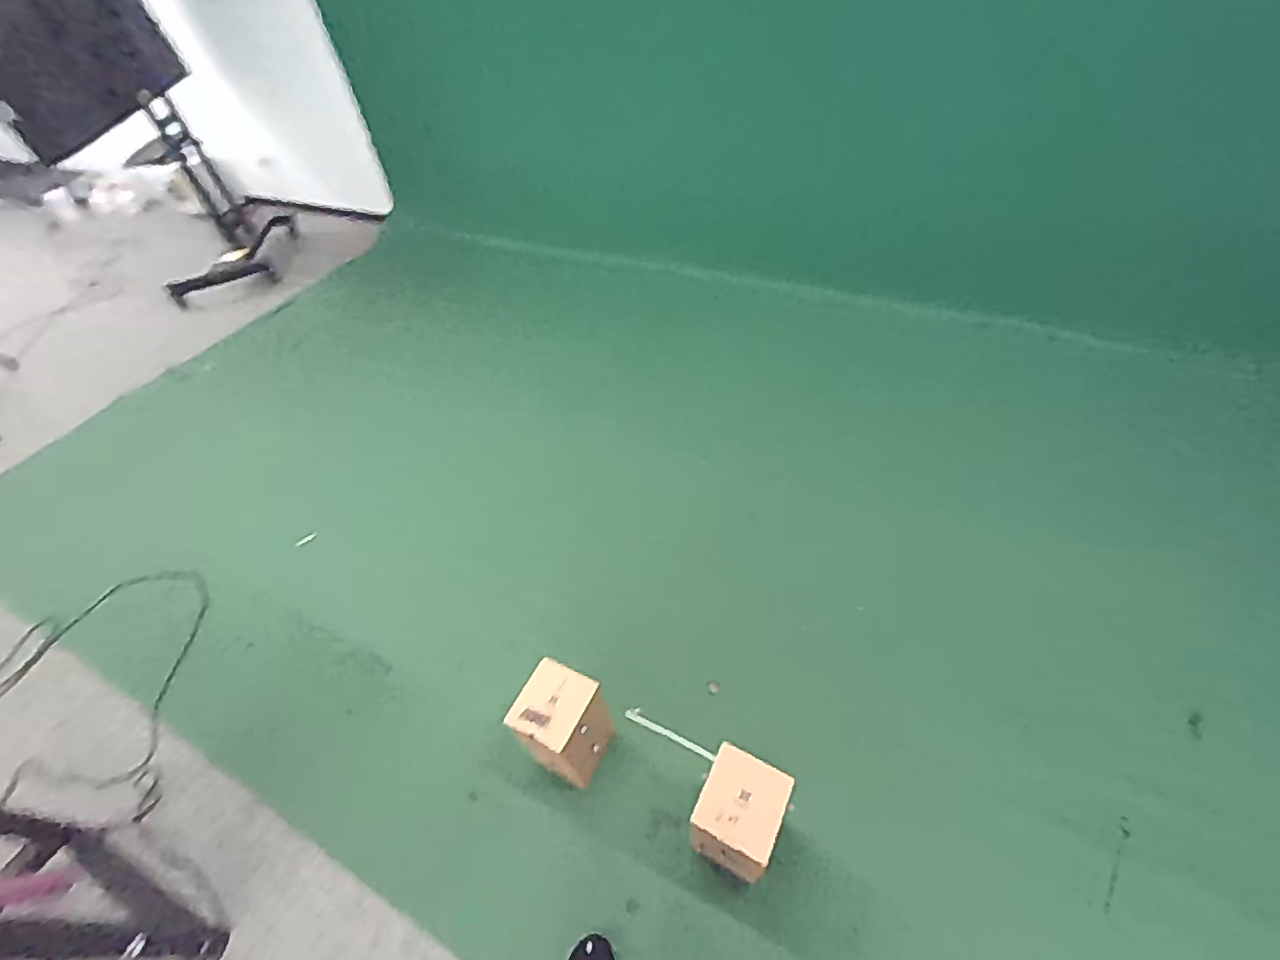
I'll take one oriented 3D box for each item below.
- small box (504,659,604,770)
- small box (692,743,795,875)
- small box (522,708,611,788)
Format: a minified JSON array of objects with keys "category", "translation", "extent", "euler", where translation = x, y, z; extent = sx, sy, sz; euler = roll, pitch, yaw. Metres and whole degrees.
[{"category":"small box","translation":[-0.203,0.586,1.344],"extent":[0.168,0.176,0.179],"euler":[19,53,21]},{"category":"small box","translation":[0.220,0.717,1.175],"extent":[0.168,0.176,0.179],"euler":[20,54,22]},{"category":"small box","translation":[-0.189,0.695,1.466],"extent":[0.168,0.176,0.179],"euler":[18,53,22]}]
